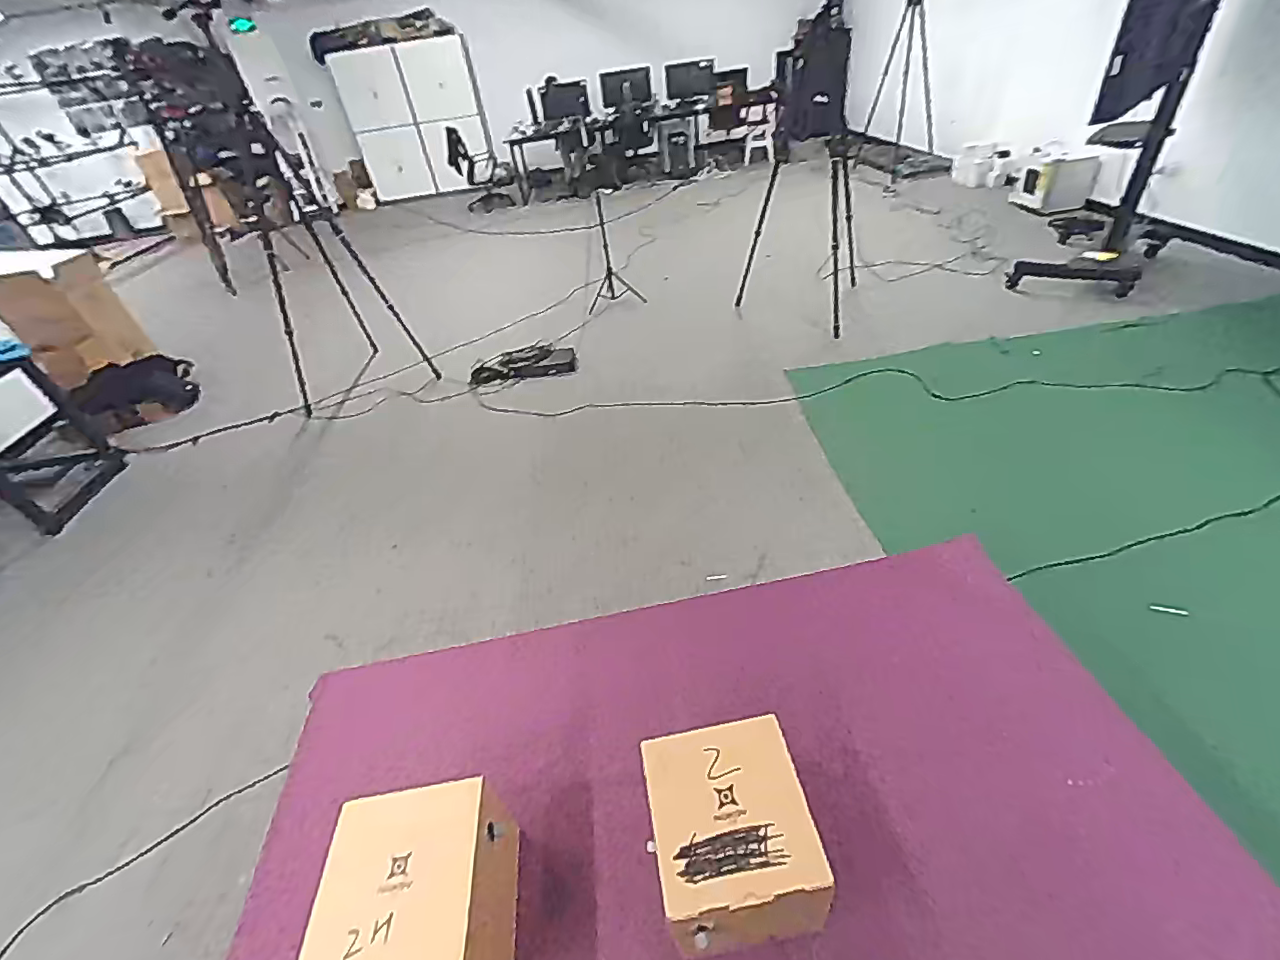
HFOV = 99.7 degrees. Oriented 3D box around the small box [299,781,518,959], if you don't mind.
[{"bbox_3d":[-0.242,0.478,0.610,0.168,0.176,0.179,-11,38,-1],"label":"small box"}]
